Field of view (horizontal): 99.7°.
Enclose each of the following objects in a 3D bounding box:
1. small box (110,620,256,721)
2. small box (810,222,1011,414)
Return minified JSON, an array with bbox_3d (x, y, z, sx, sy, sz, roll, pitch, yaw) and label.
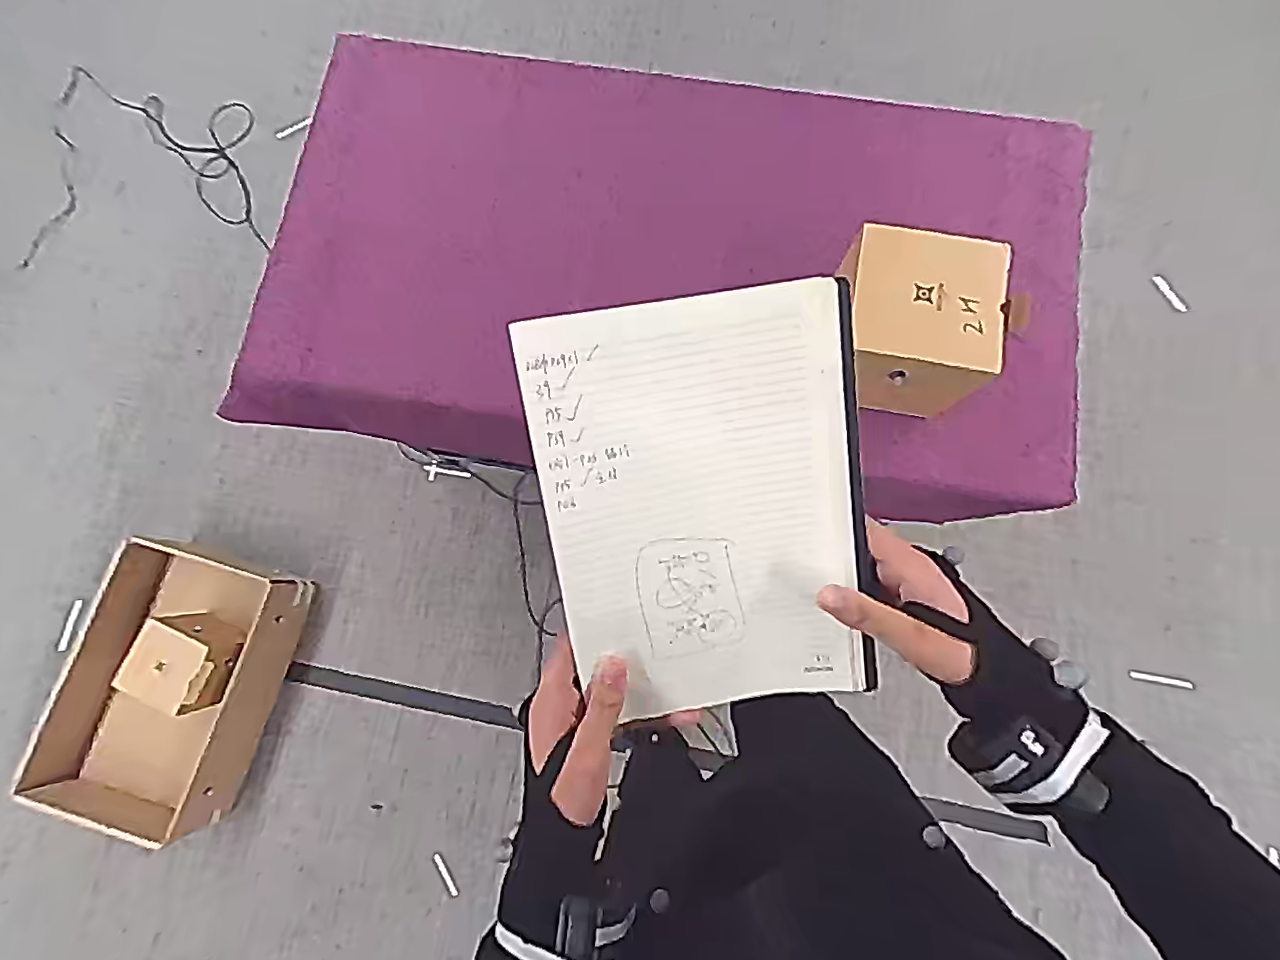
[{"bbox_3d":[-1.086,0.447,1.303,0.179,0.176,0.168,23,81,5],"label":"small box"},{"bbox_3d":[0.333,-0.197,0.698,0.179,0.176,0.168,11,80,3],"label":"small box"}]
